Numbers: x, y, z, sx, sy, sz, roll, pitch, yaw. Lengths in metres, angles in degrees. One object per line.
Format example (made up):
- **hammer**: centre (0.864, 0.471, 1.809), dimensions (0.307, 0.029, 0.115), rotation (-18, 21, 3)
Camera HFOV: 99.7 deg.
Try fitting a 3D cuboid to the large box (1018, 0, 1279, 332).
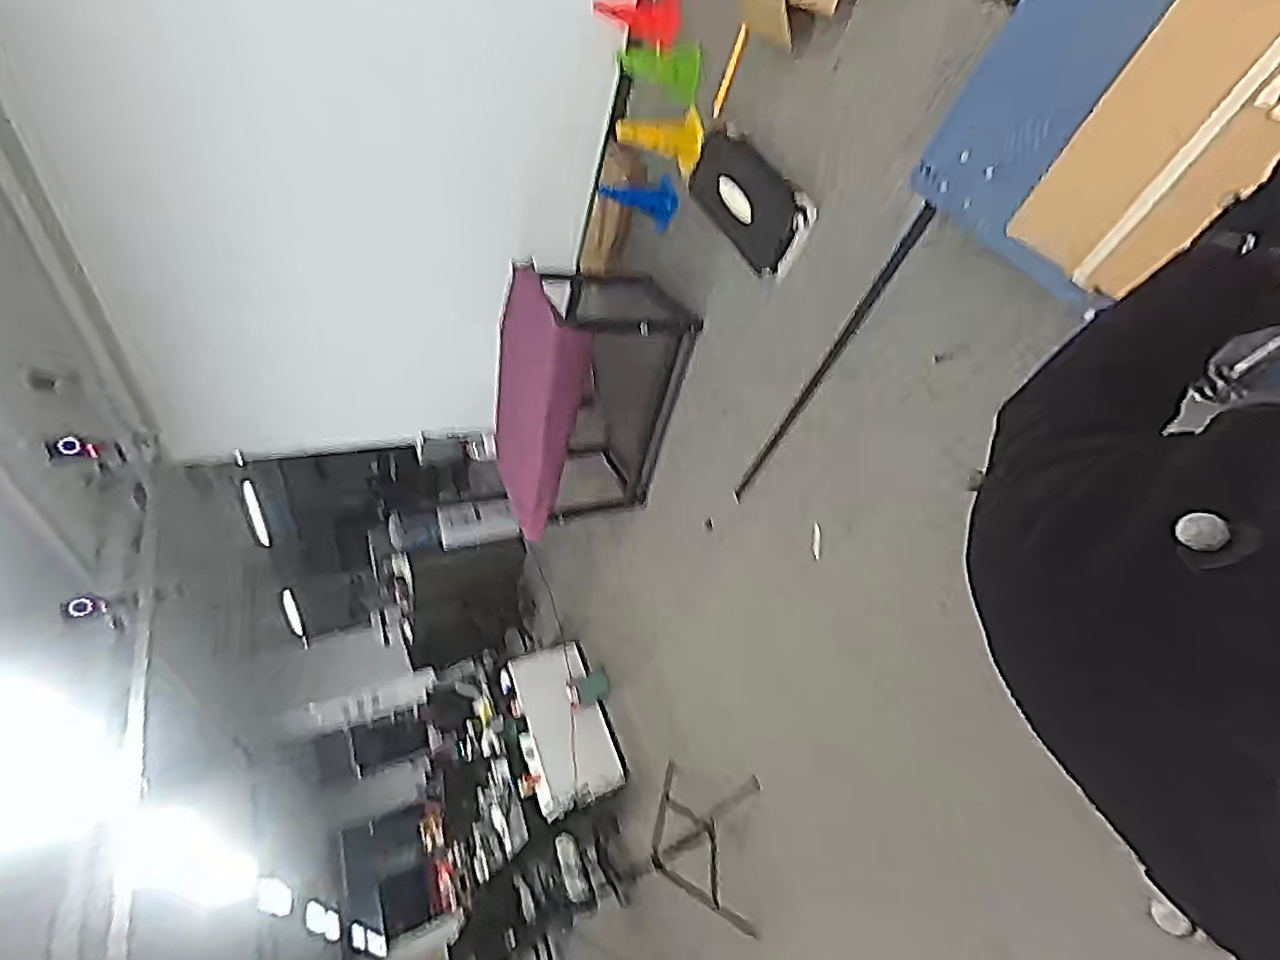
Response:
- **large box**: centre (0.896, -0.474, 0.794), dimensions (0.320, 0.320, 0.408), rotation (59, 143, 34)
